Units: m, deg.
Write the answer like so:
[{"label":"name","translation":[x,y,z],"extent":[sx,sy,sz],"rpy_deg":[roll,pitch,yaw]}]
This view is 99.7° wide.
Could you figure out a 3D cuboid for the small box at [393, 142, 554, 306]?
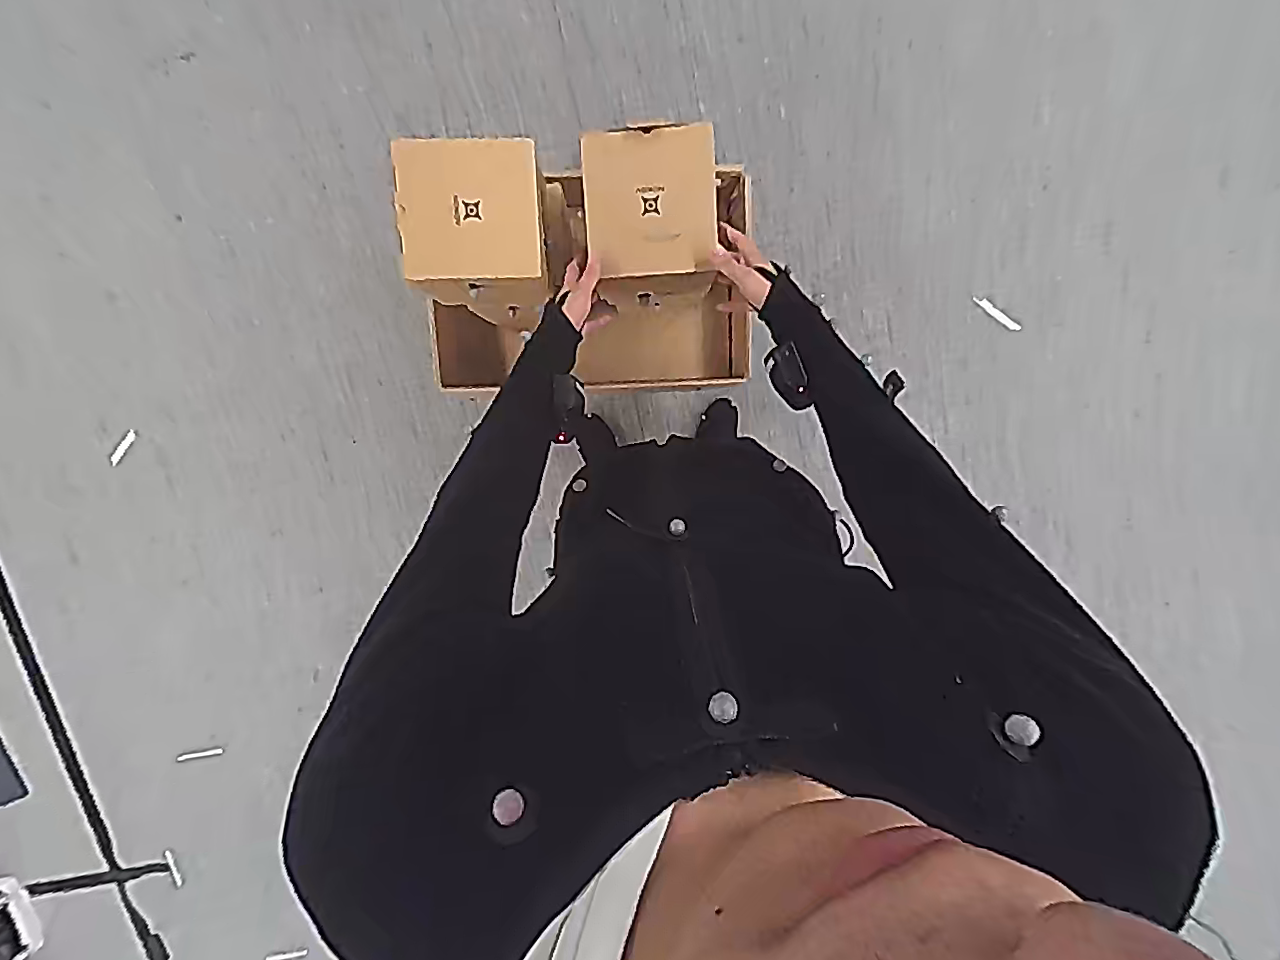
[{"label":"small box","translation":[-0.214,-0.341,0.747],"extent":[0.179,0.176,0.168],"rpy_deg":[-2,98,-2]}]

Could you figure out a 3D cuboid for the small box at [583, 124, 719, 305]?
[{"label":"small box","translation":[0.015,-0.351,0.745],"extent":[0.168,0.176,0.179],"rpy_deg":[-3,98,2]}]
